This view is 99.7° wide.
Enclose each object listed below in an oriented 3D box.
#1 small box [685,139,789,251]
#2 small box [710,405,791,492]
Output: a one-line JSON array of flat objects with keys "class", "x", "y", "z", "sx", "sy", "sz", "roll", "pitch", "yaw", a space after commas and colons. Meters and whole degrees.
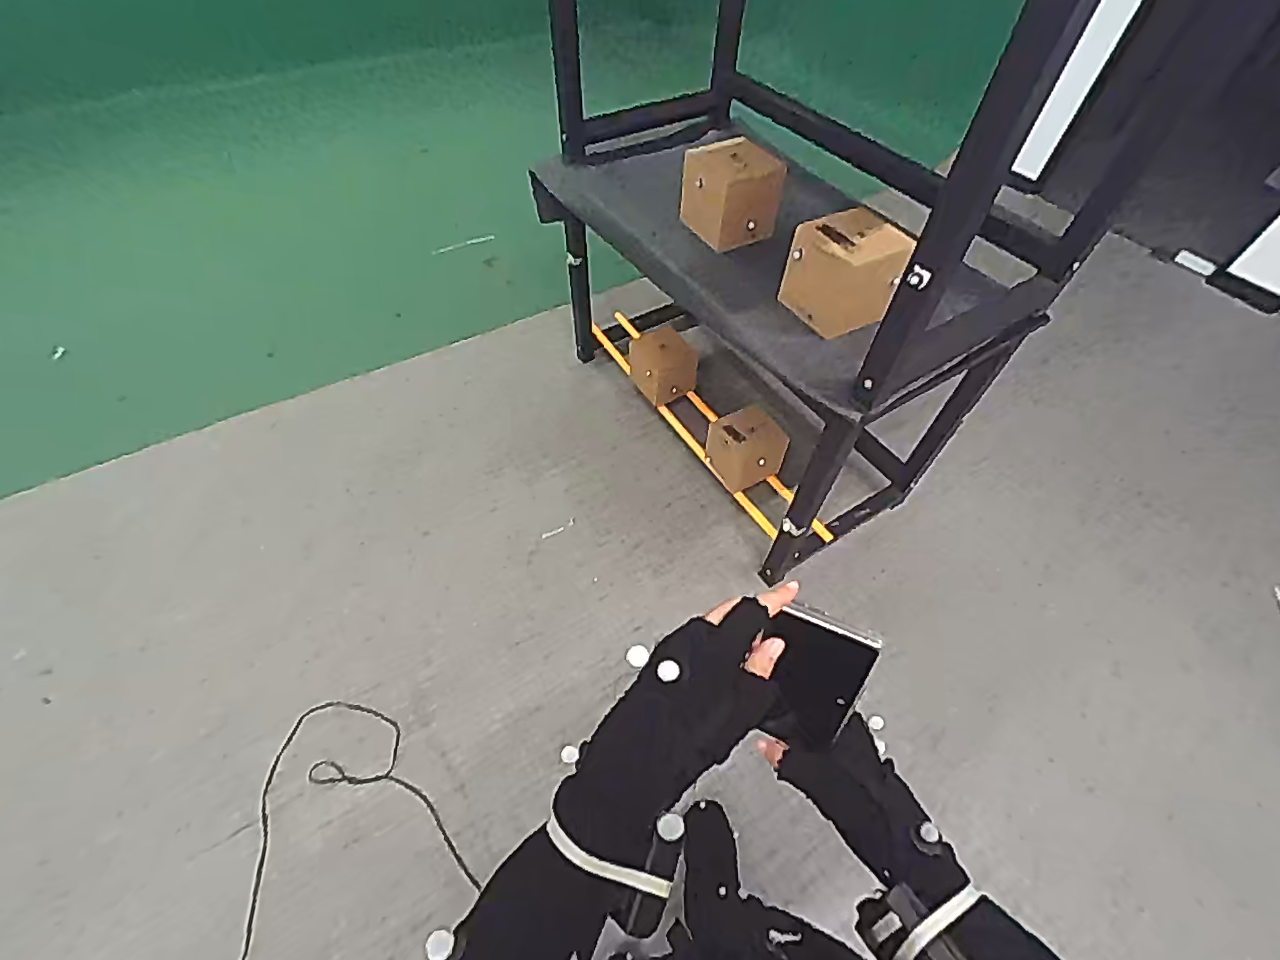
[{"class": "small box", "x": 0.219, "y": -0.677, "z": 1.288, "sx": 0.168, "sy": 0.176, "sz": 0.179, "roll": -24, "pitch": 58, "yaw": -17}, {"class": "small box", "x": 0.323, "y": -0.090, "z": 1.632, "sx": 0.179, "sy": 0.176, "sz": 0.168, "roll": -24, "pitch": 58, "yaw": -17}]
